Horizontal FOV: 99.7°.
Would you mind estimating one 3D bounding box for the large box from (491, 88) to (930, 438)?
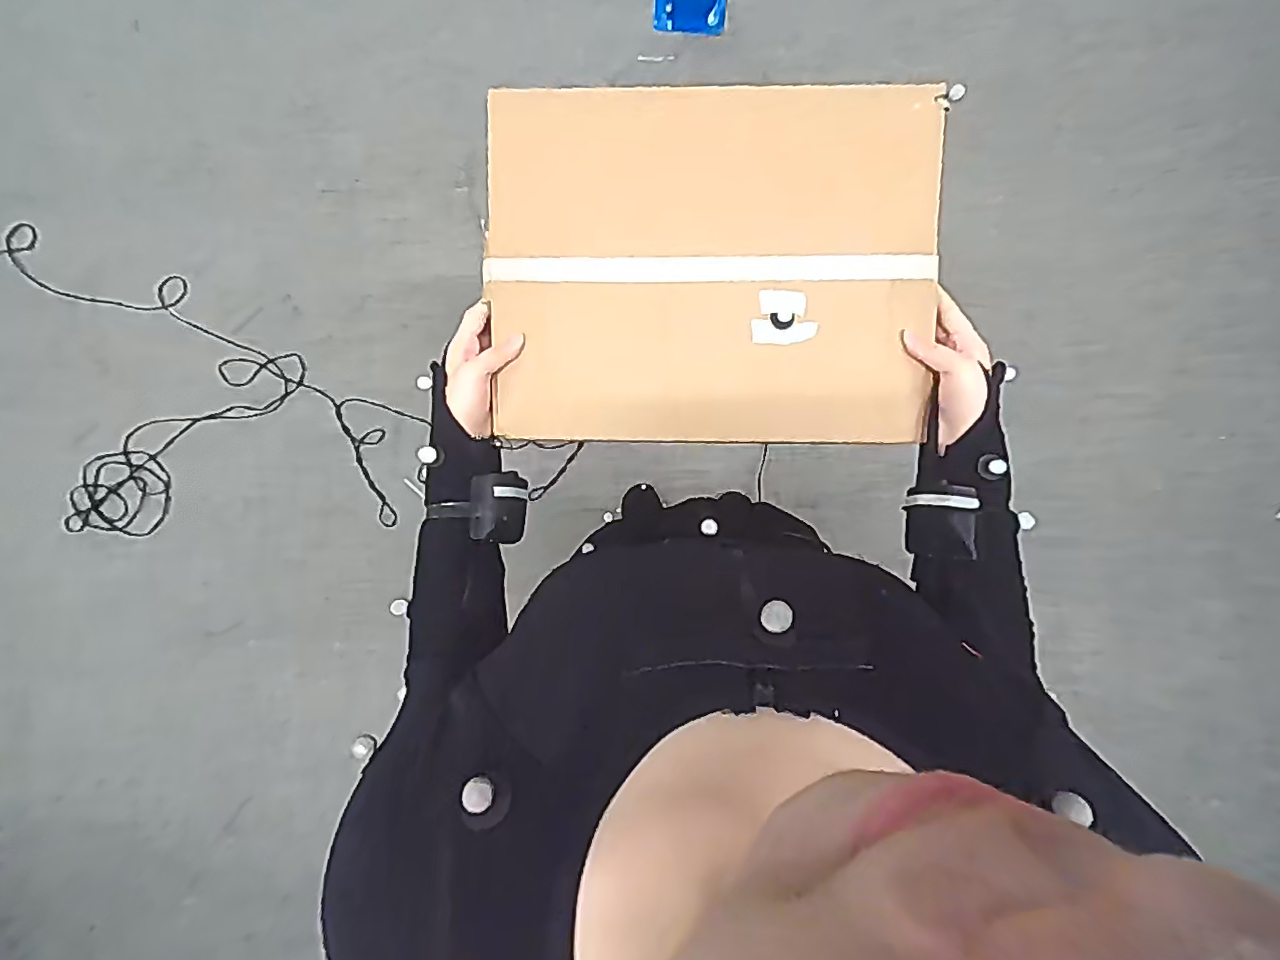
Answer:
[{"bbox_3d":[0.064,-0.209,0.647,0.408,0.320,0.320,0,95,1],"label":"large box"}]

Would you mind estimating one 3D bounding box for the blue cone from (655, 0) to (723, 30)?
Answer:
[{"bbox_3d":[0.136,-1.361,1.351,0.193,0.380,0.192,7,89,1],"label":"blue cone"}]
